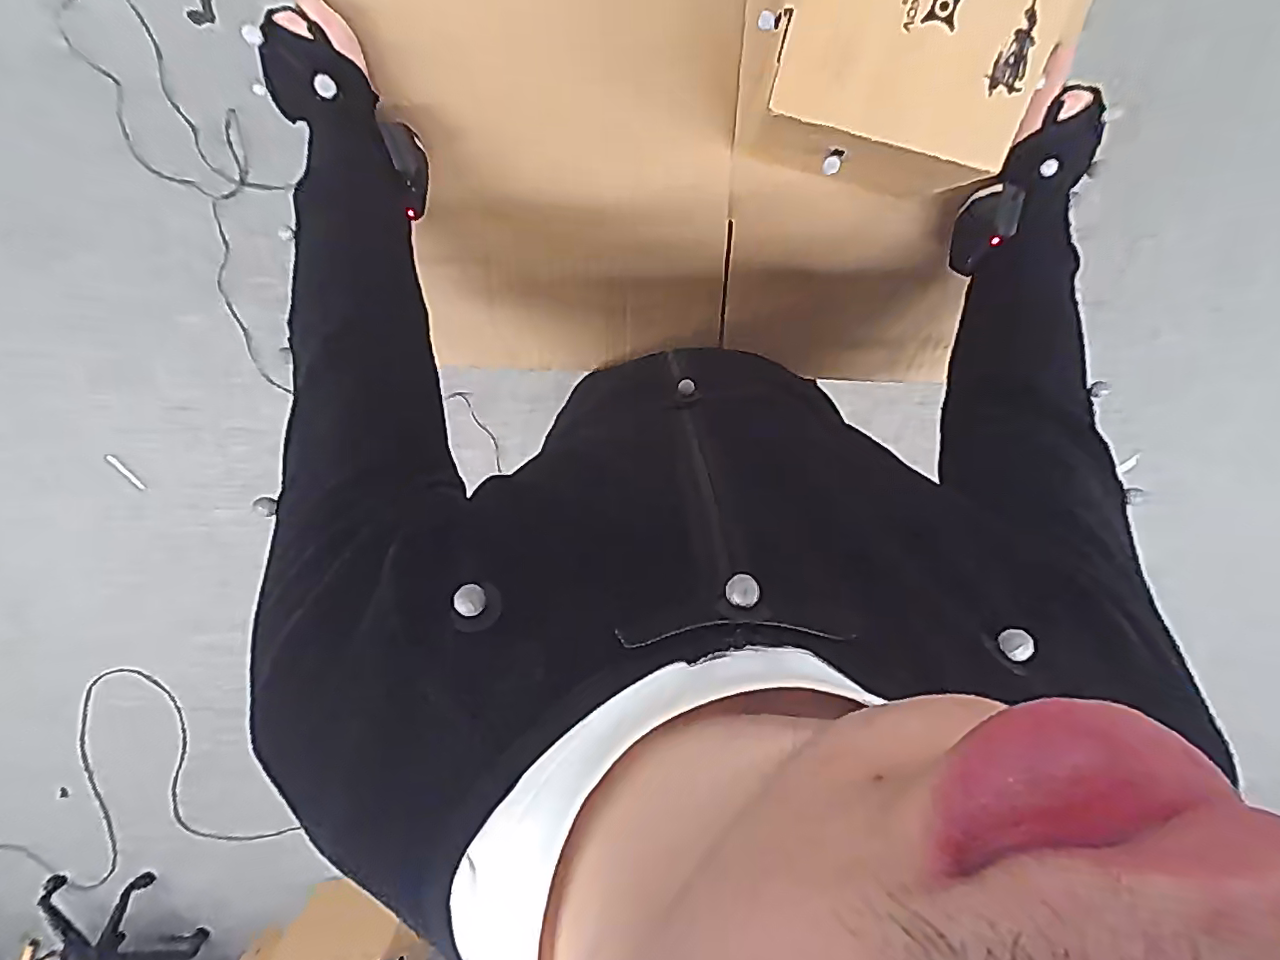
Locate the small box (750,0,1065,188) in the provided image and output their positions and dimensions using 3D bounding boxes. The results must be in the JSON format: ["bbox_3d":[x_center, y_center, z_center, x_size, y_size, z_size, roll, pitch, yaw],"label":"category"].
[{"bbox_3d":[0.198,-0.350,0.433,0.179,0.176,0.168,14,112,-1],"label":"small box"}]
